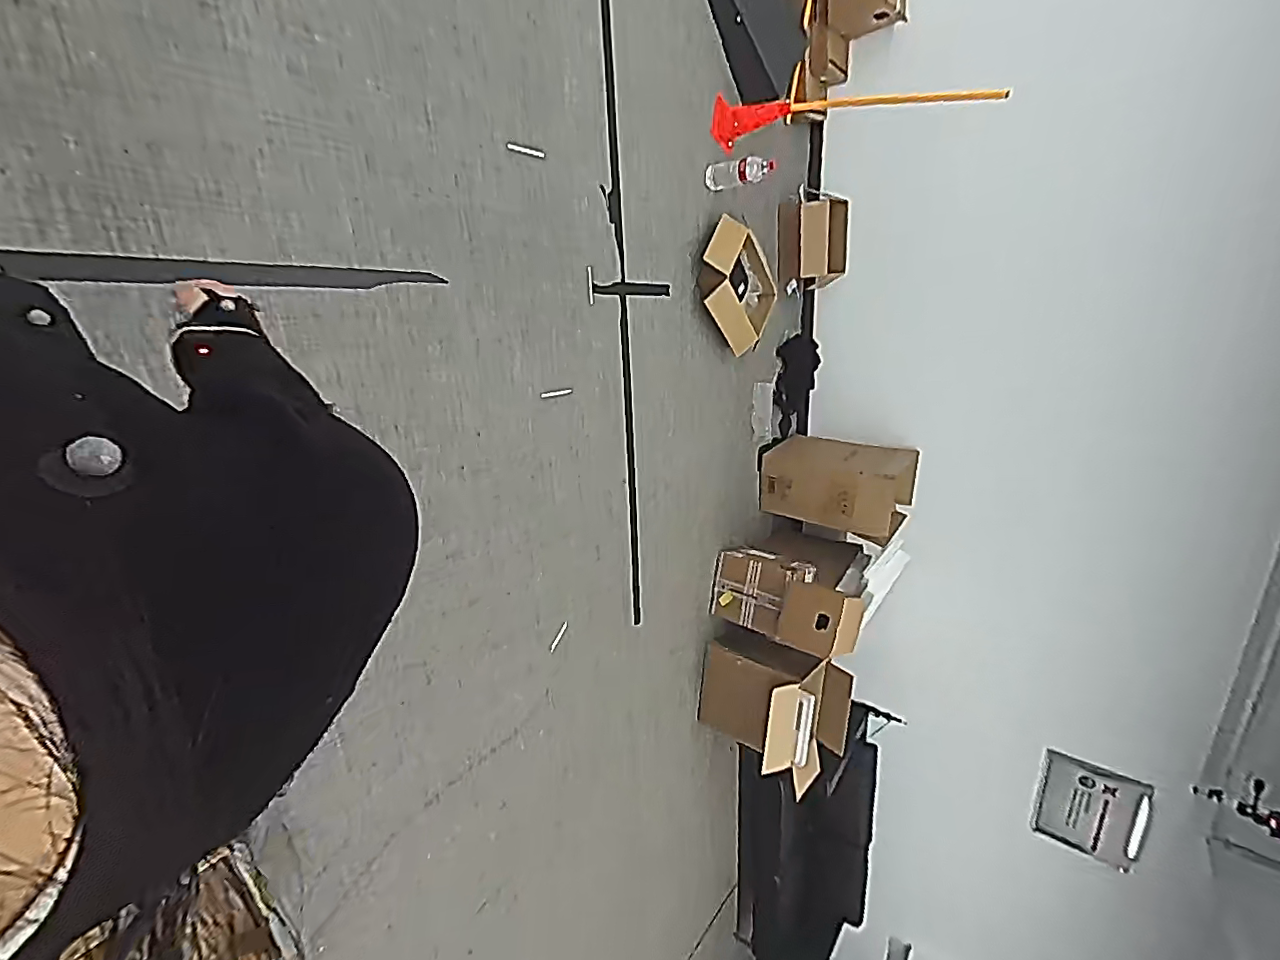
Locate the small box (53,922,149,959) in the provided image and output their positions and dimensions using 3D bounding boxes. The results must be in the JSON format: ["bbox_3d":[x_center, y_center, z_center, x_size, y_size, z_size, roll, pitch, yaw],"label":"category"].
[{"bbox_3d":[-1.143,1.085,1.126,0.168,0.176,0.179,-35,125,-44],"label":"small box"}]
